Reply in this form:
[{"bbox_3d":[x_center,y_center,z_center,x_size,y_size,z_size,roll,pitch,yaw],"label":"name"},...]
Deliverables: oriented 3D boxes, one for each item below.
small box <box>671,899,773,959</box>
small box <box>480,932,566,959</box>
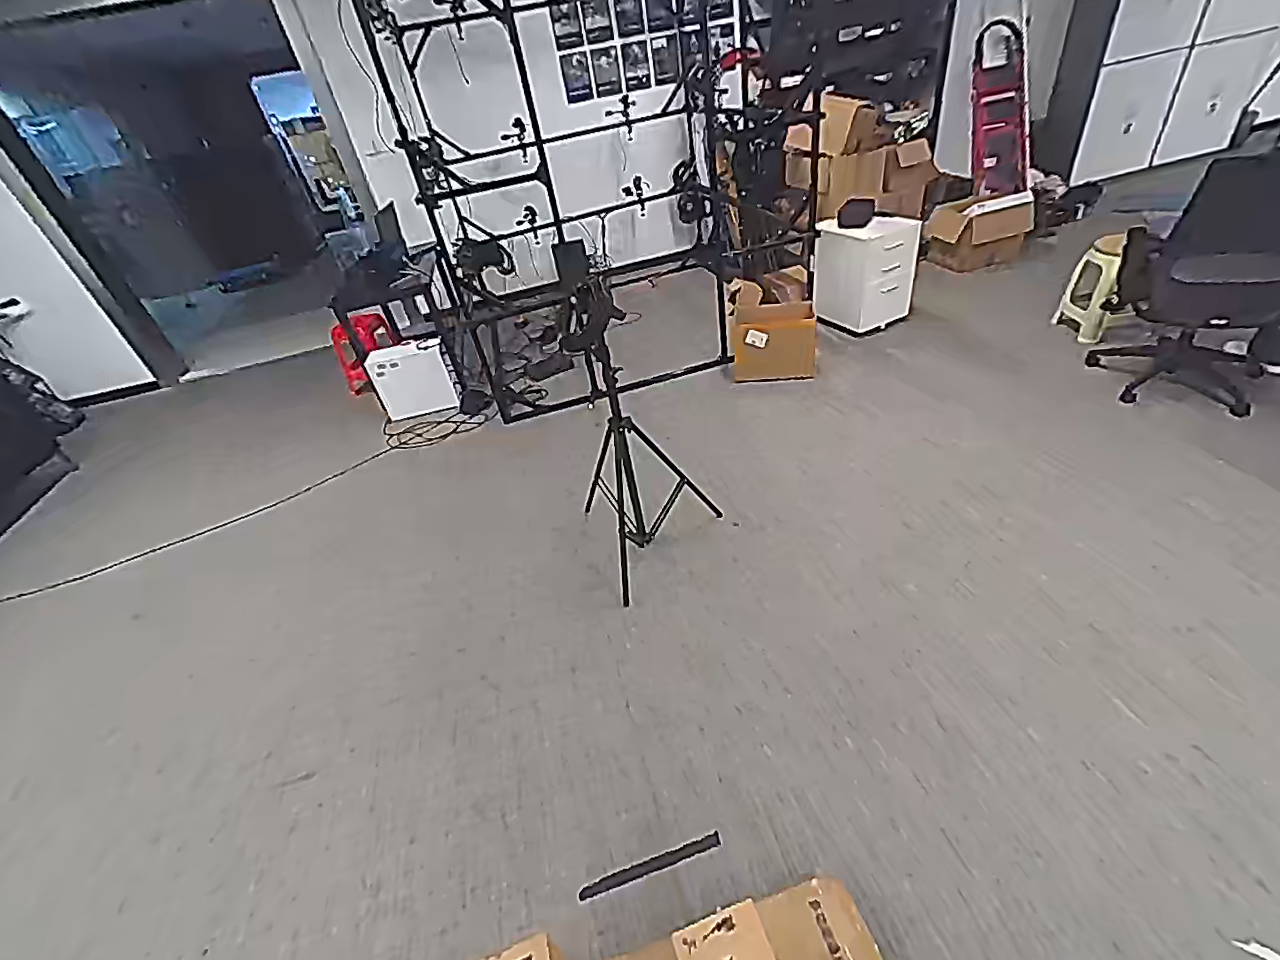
[{"bbox_3d":[0.172,0.927,0.997,0.168,0.176,0.179,-19,37,-7],"label":"small box"},{"bbox_3d":[-0.193,0.885,0.868,0.168,0.176,0.179,-17,36,-9],"label":"small box"}]
